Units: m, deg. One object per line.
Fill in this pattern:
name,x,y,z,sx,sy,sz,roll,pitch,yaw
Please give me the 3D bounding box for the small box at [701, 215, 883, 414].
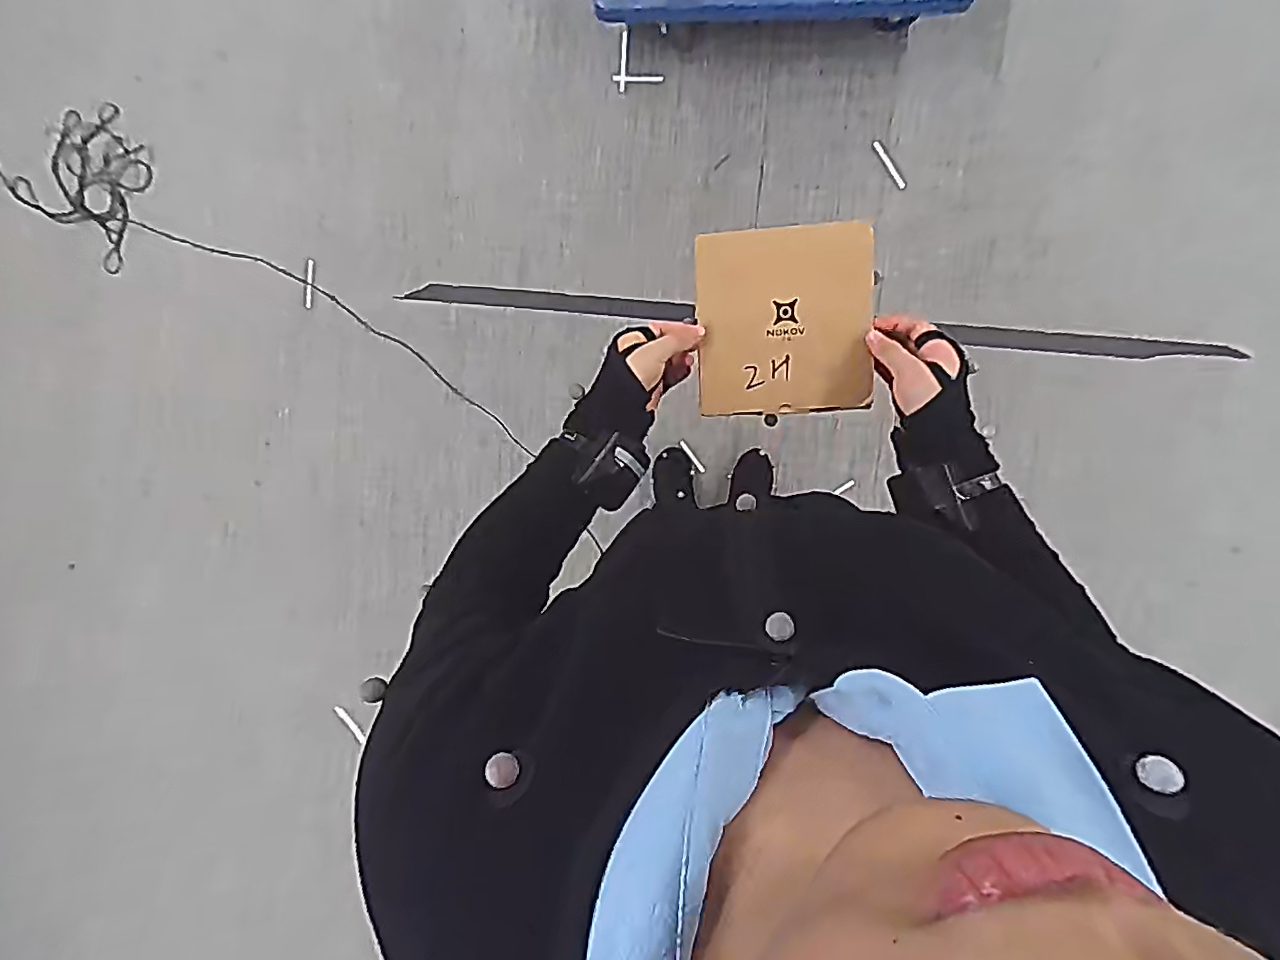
small box,0.151,-0.163,0.587,0.168,0.176,0.179,-2,98,7
